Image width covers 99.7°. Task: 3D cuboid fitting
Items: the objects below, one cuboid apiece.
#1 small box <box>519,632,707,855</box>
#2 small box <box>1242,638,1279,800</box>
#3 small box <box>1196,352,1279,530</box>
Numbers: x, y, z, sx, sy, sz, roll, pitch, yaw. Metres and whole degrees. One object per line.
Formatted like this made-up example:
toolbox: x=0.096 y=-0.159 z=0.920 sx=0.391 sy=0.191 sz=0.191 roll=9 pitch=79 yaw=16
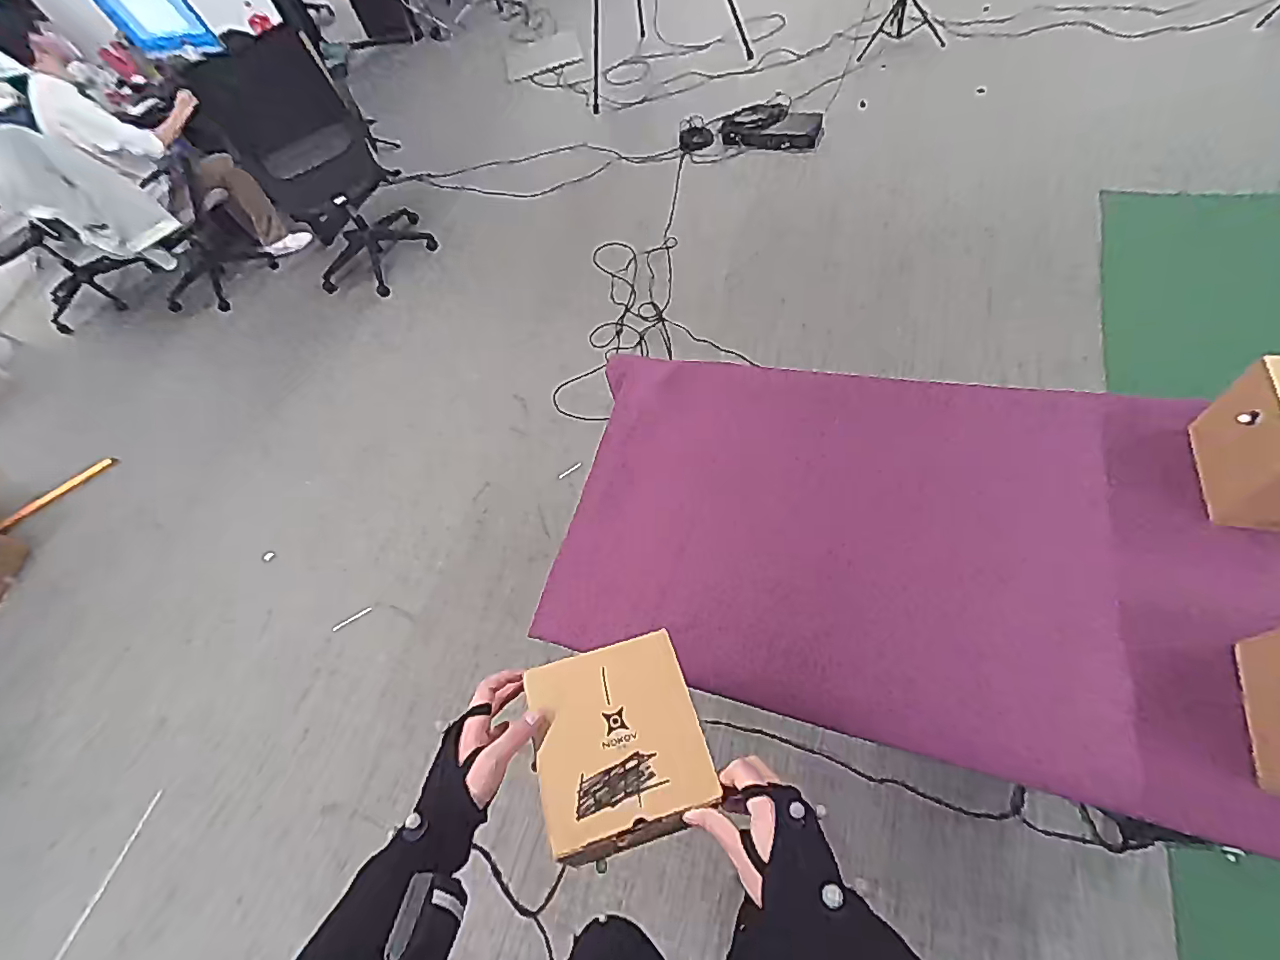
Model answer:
small box: x=-0.029 y=0.304 z=0.617 sx=0.168 sy=0.176 sz=0.179 roll=-14 pitch=53 yaw=-7
small box: x=0.787 y=0.257 z=0.557 sx=0.168 sy=0.176 sz=0.179 roll=10 pitch=63 yaw=21
small box: x=0.893 y=-0.045 z=0.713 sx=0.168 sy=0.176 sz=0.179 roll=7 pitch=62 yaw=21
